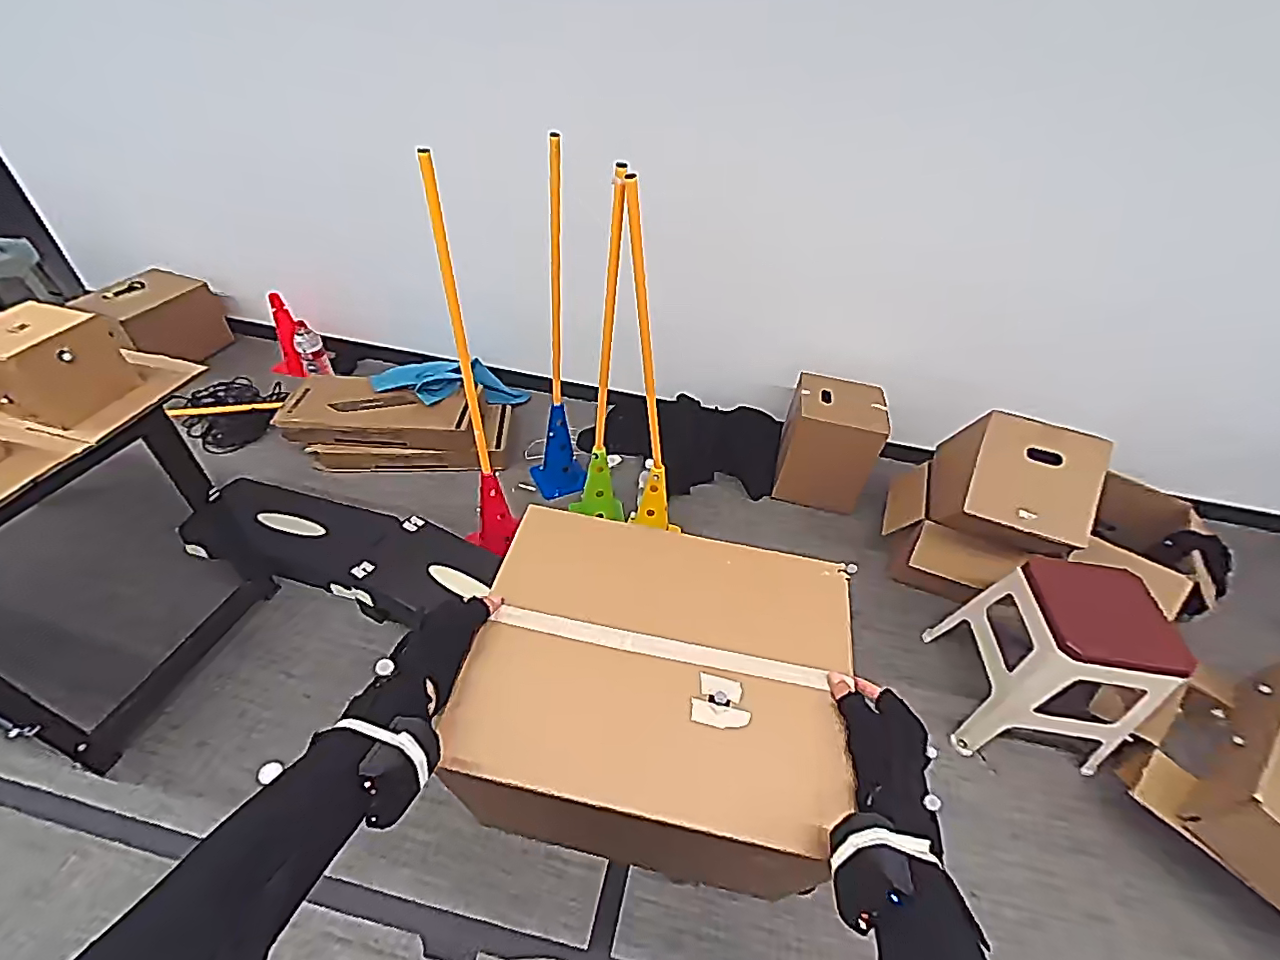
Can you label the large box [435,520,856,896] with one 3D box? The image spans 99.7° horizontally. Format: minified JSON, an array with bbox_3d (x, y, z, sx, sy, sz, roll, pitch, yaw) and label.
[{"bbox_3d":[0.014,0.293,0.702,0.408,0.320,0.320,11,48,5],"label":"large box"}]
